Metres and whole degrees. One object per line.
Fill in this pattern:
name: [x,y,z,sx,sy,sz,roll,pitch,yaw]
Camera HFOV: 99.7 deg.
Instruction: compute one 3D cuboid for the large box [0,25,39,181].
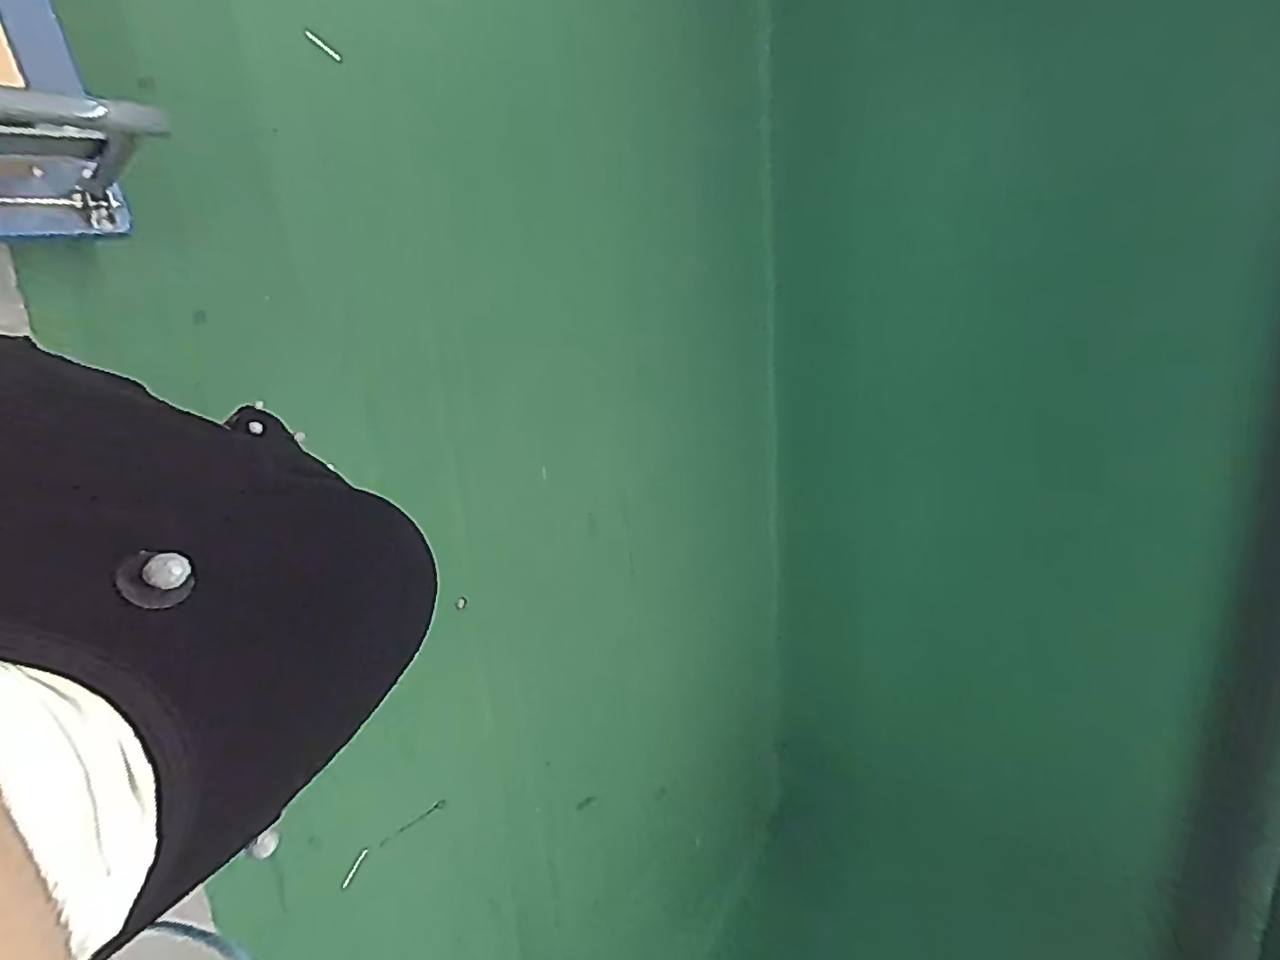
large box: [-1.103,-0.660,0.713,0.320,0.320,0.408,-26,113,-44]
